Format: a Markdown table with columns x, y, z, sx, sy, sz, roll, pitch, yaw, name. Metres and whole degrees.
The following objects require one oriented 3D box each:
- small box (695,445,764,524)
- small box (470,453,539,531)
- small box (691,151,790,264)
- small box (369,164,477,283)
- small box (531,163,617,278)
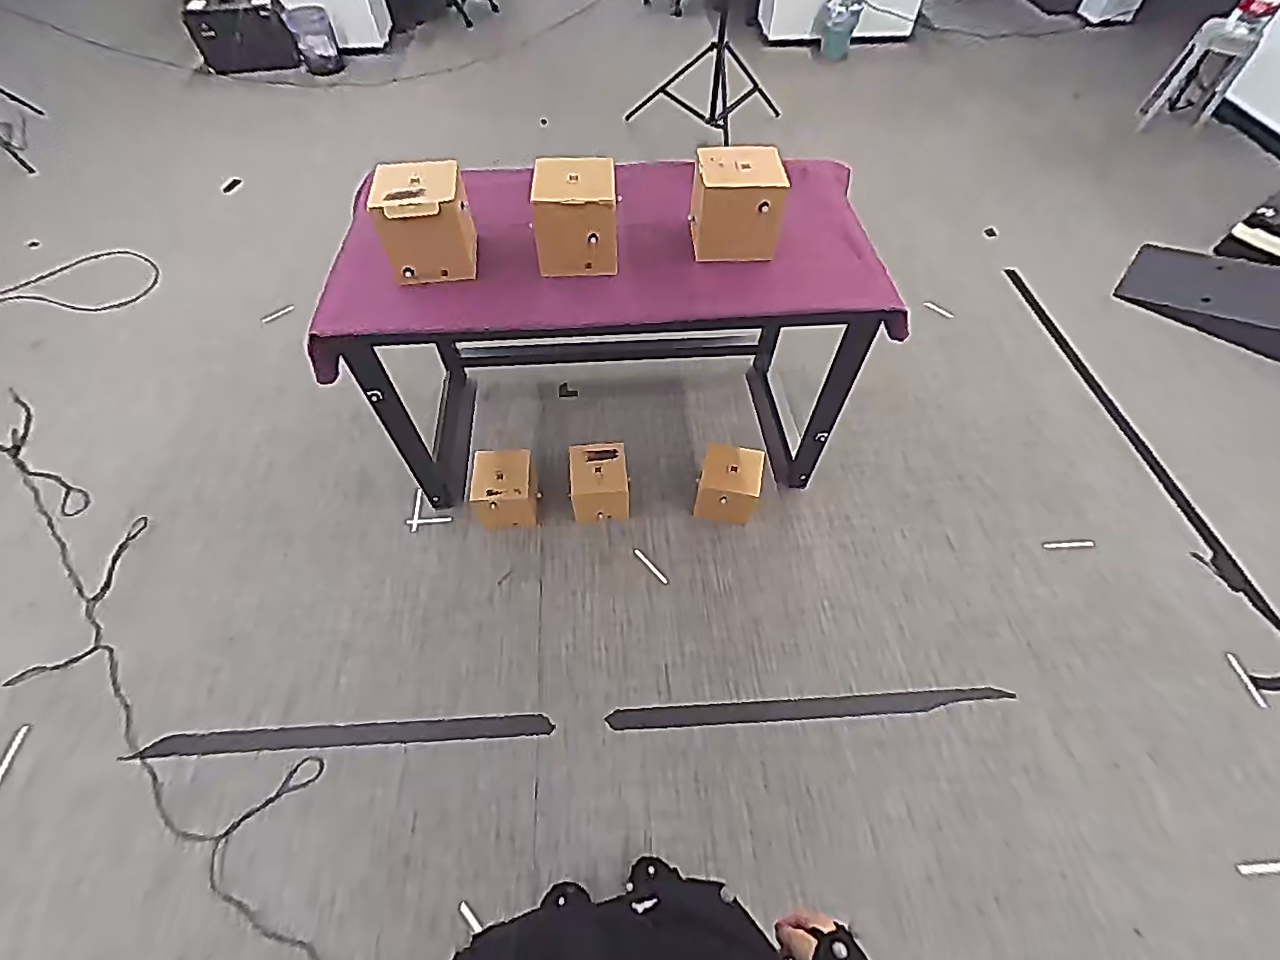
| x | y | z | sx | sy | sz | roll | pitch | yaw | name |
| --- | --- | --- | --- | --- | --- | --- | --- | --- | --- |
| 0.271 | 0.019 | 1.656 | 0.179 | 0.176 | 0.168 | 10 | 57 | 8 | small box |
| -0.402 | 0.038 | 1.636 | 0.168 | 0.176 | 0.179 | -1 | 55 | -1 | small box |
| 0.211 | -0.594 | 1.186 | 0.179 | 0.176 | 0.168 | -2 | 55 | -1 | small box |
| -0.445 | -0.532 | 1.137 | 0.168 | 0.176 | 0.179 | -7 | 55 | -6 | small box |
| -0.134 | -0.551 | 1.156 | 0.168 | 0.176 | 0.179 | -2 | 54 | -3 | small box |
